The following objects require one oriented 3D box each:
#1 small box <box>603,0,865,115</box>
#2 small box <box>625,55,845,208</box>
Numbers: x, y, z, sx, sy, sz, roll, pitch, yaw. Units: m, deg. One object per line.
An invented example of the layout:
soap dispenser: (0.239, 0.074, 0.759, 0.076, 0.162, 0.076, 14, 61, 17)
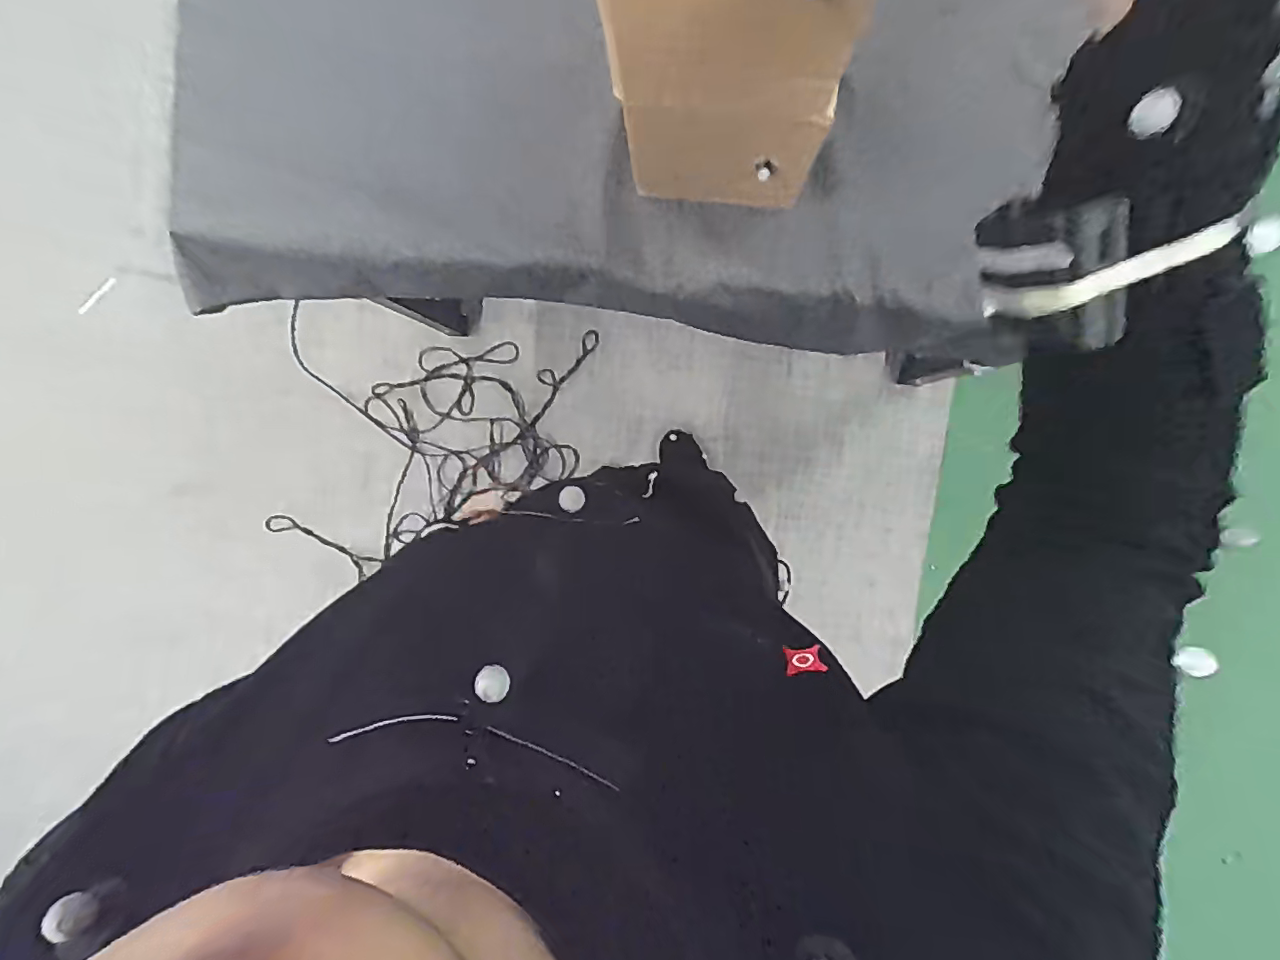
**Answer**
small box: (0.069, -0.380, 0.359, 0.179, 0.176, 0.168, 8, 93, 3)
small box: (0.088, -0.384, 0.521, 0.179, 0.176, 0.168, 7, 93, 5)
